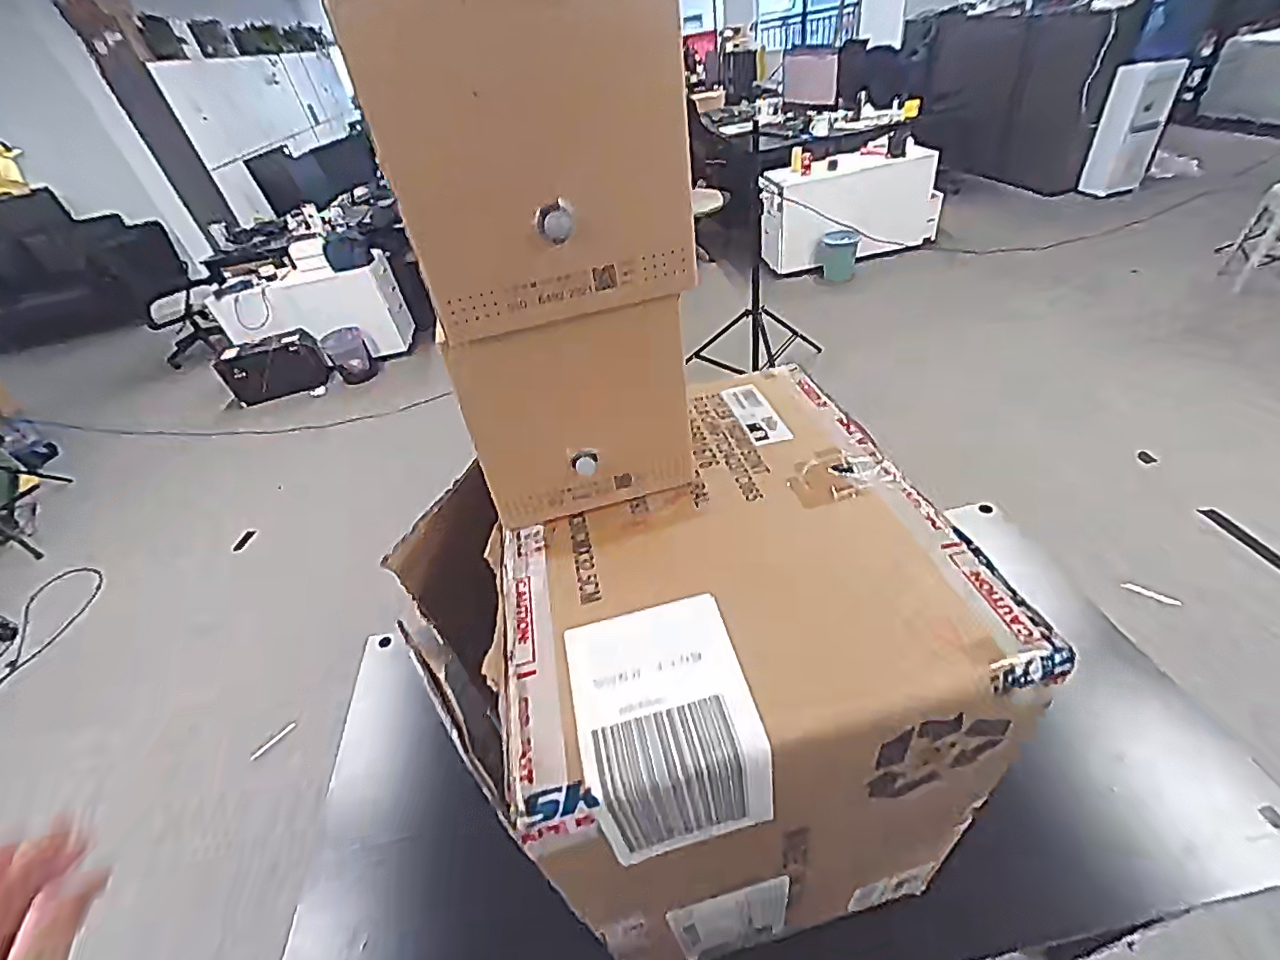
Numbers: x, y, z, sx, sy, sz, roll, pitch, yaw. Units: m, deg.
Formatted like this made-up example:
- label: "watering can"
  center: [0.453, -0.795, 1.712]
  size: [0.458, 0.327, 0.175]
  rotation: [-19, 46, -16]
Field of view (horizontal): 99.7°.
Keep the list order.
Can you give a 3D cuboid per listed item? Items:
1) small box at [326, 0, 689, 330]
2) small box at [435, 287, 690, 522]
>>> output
- label: "small box"
  center: [-0.074, -0.218, 0.360]
  size: [0.168, 0.176, 0.179]
  rotation: [-16, 38, -8]
- label: "small box"
  center: [-0.062, -0.092, 0.466]
  size: [0.168, 0.176, 0.179]
  rotation: [-14, 38, -7]
